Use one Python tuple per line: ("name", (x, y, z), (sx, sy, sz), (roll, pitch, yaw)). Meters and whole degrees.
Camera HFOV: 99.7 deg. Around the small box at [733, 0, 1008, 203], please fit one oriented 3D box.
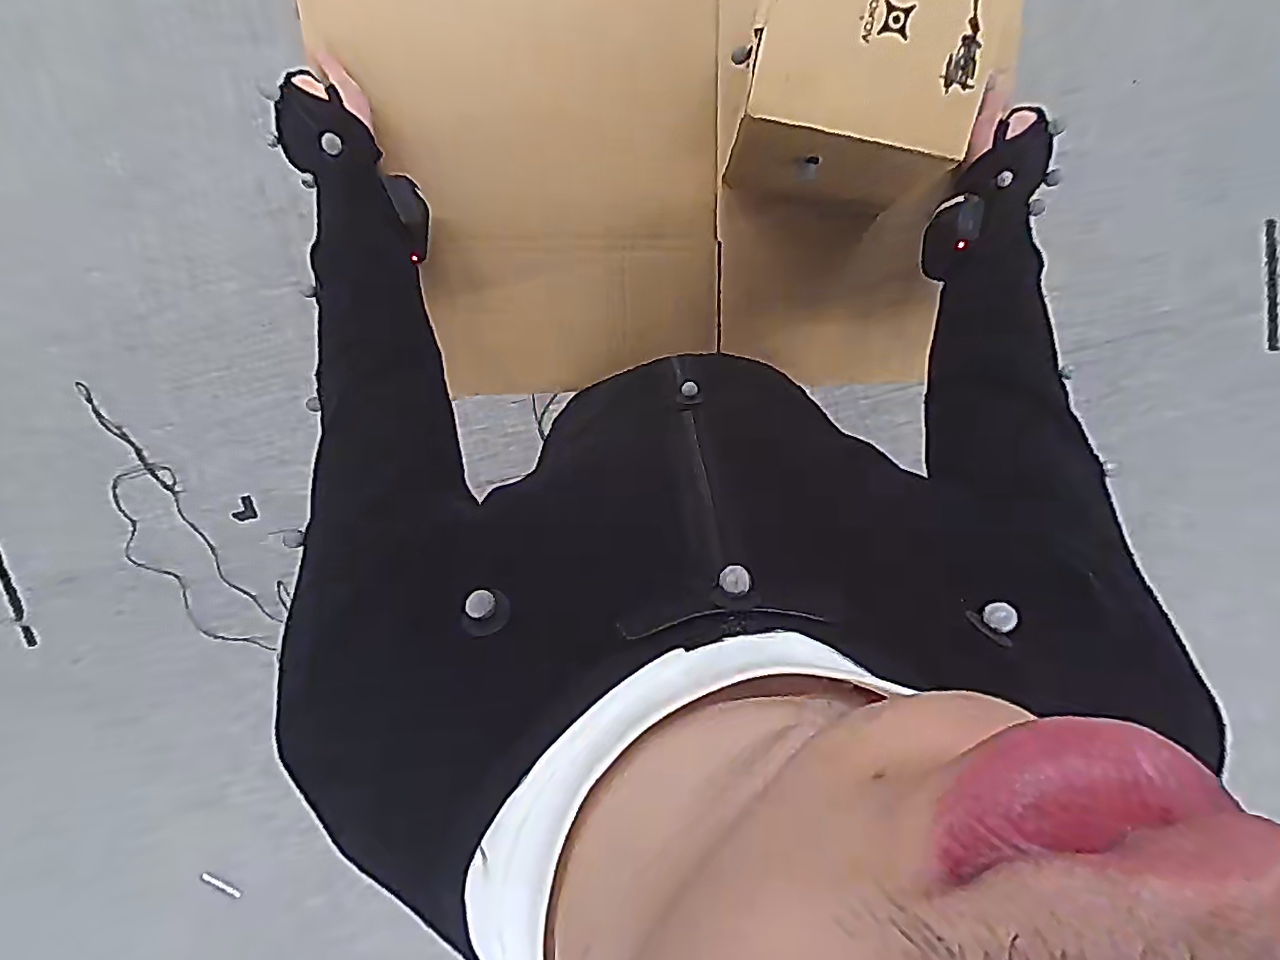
("small box", (0.188, -0.367, 0.482), (0.179, 0.176, 0.168), (12, 104, 1))
